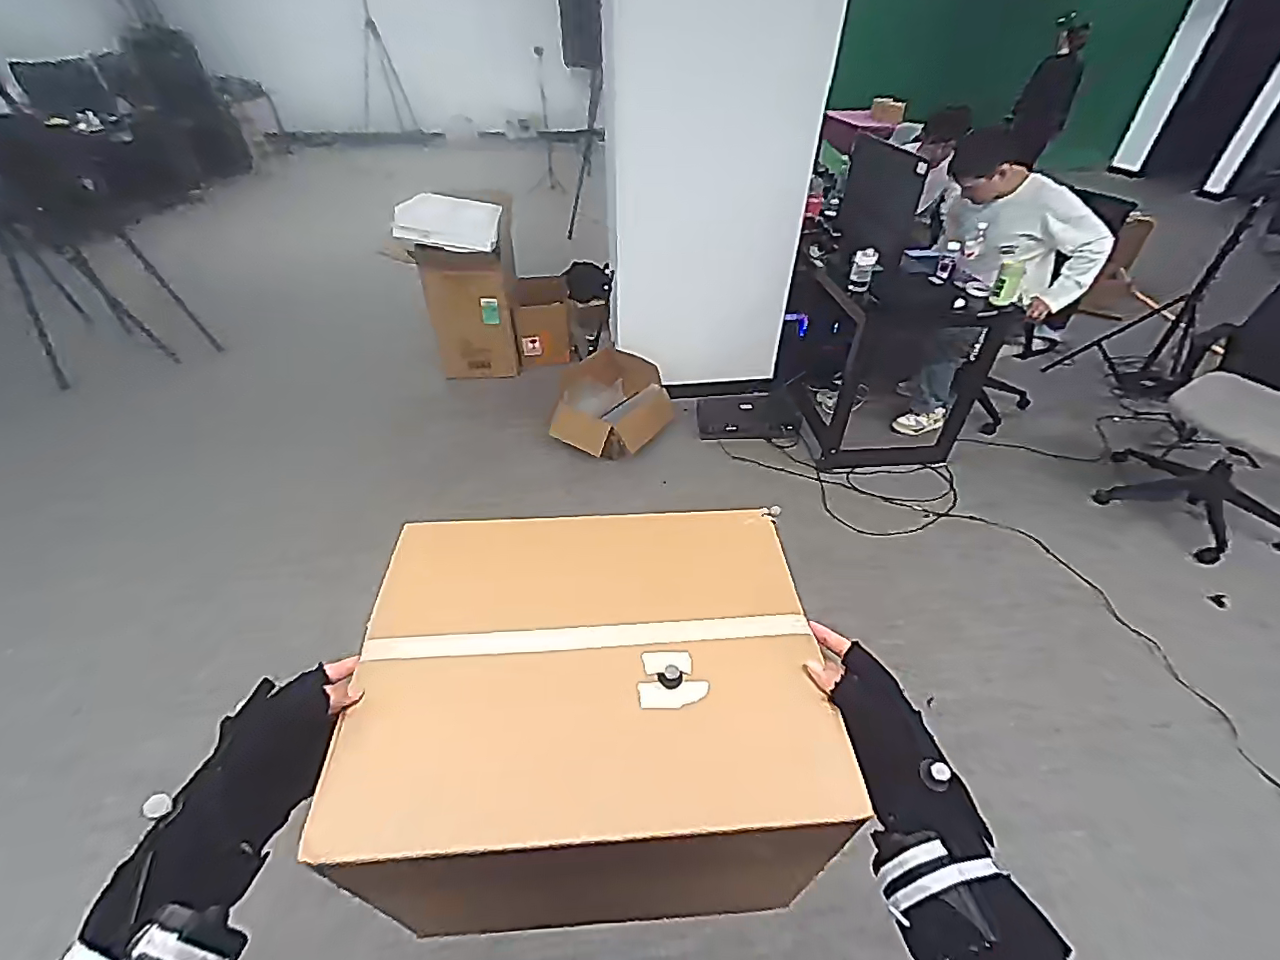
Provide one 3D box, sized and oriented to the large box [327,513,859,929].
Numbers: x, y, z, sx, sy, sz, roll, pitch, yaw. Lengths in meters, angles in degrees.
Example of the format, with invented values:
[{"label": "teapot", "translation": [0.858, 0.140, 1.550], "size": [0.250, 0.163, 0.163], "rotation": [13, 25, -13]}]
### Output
[{"label": "large box", "translation": [-0.045, 0.259, 0.605], "size": [0.408, 0.320, 0.320], "rotation": [-2, 43, -4]}]
